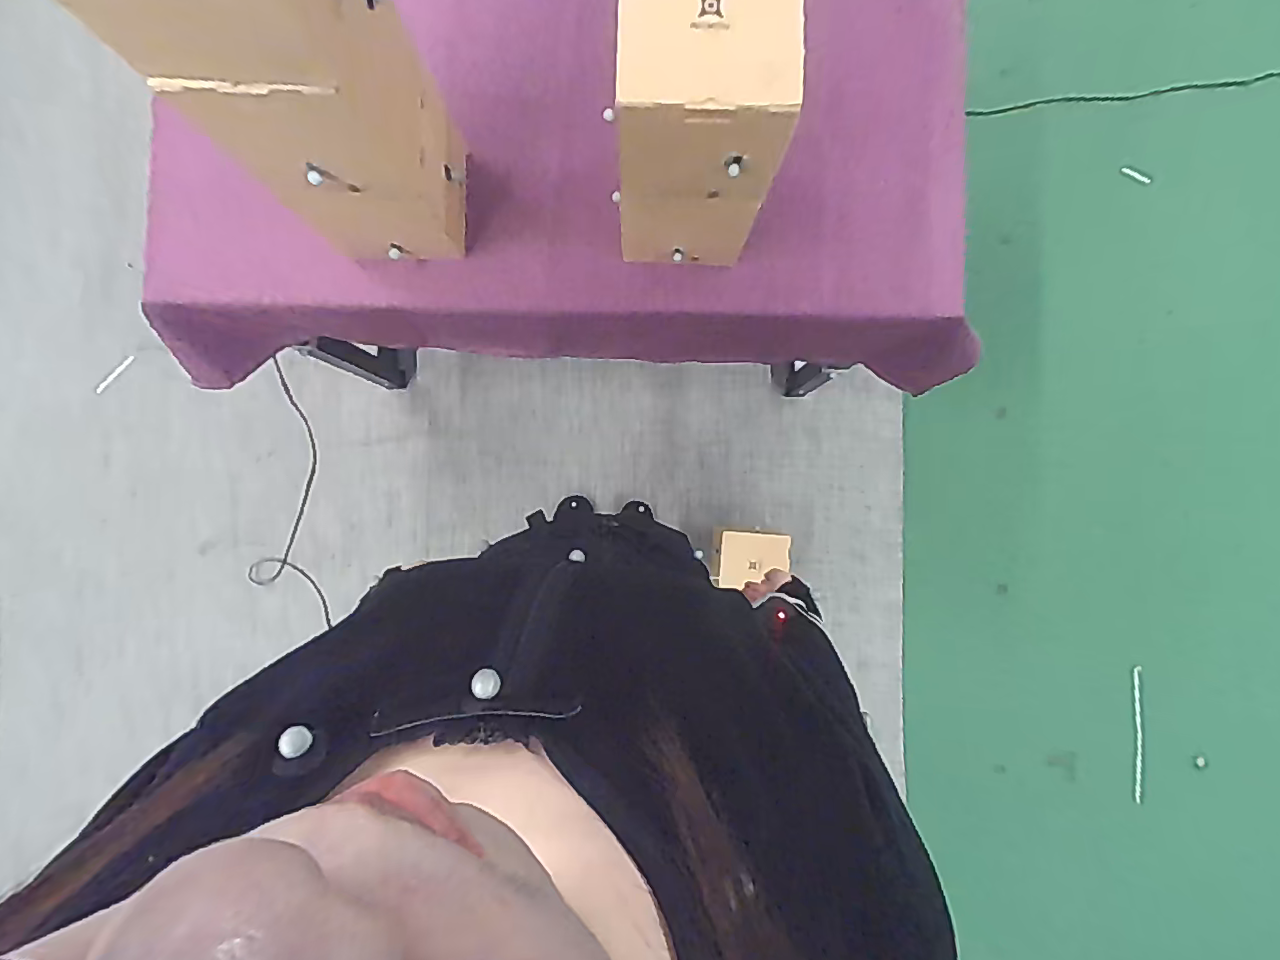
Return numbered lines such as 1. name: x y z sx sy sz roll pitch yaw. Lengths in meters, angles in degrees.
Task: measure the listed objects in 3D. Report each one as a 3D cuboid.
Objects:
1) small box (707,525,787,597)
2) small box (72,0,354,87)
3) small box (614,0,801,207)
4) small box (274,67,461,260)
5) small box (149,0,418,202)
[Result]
1. small box: 0.278 0.211 1.441 0.179 0.176 0.168 4 89 -2
2. small box: -0.333 -0.424 0.388 0.179 0.176 0.168 3 88 -2
3. small box: 0.061 -0.408 0.560 0.168 0.176 0.179 1 88 -1
4. small box: -0.345 -0.407 0.717 0.179 0.176 0.168 -1 88 -2
5. small box: -0.342 -0.417 0.552 0.168 0.176 0.179 1 88 -1
